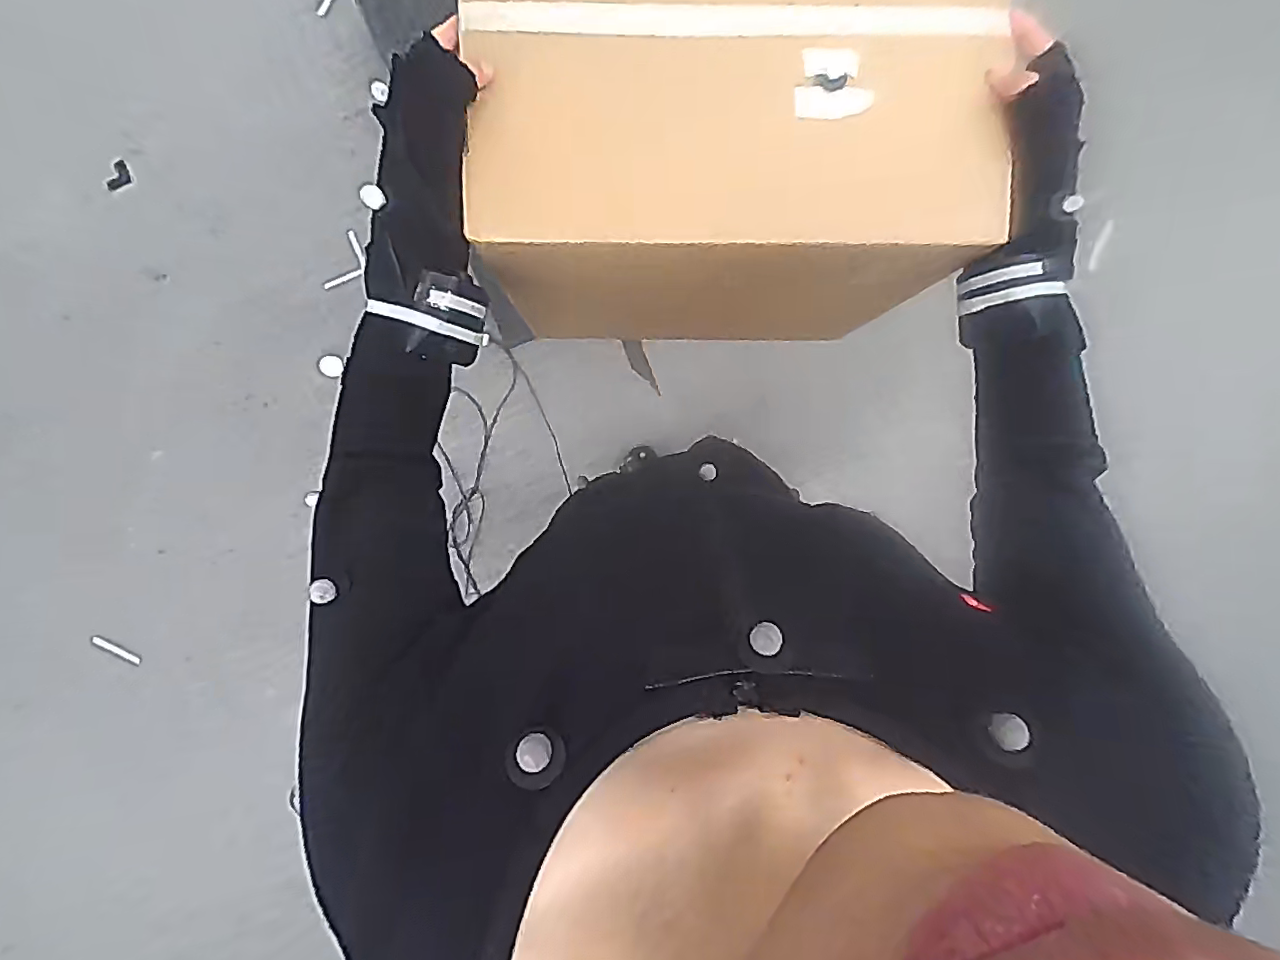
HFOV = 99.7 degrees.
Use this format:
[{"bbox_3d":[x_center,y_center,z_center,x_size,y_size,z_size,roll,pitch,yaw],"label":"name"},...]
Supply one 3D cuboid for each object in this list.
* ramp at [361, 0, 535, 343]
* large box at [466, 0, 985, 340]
[{"bbox_3d":[-0.312,-0.913,1.384,0.509,0.206,0.991,-24,91,-2],"label":"ramp"},{"bbox_3d":[0.061,-0.340,0.563,0.408,0.320,0.320,-1,91,-2],"label":"large box"}]
